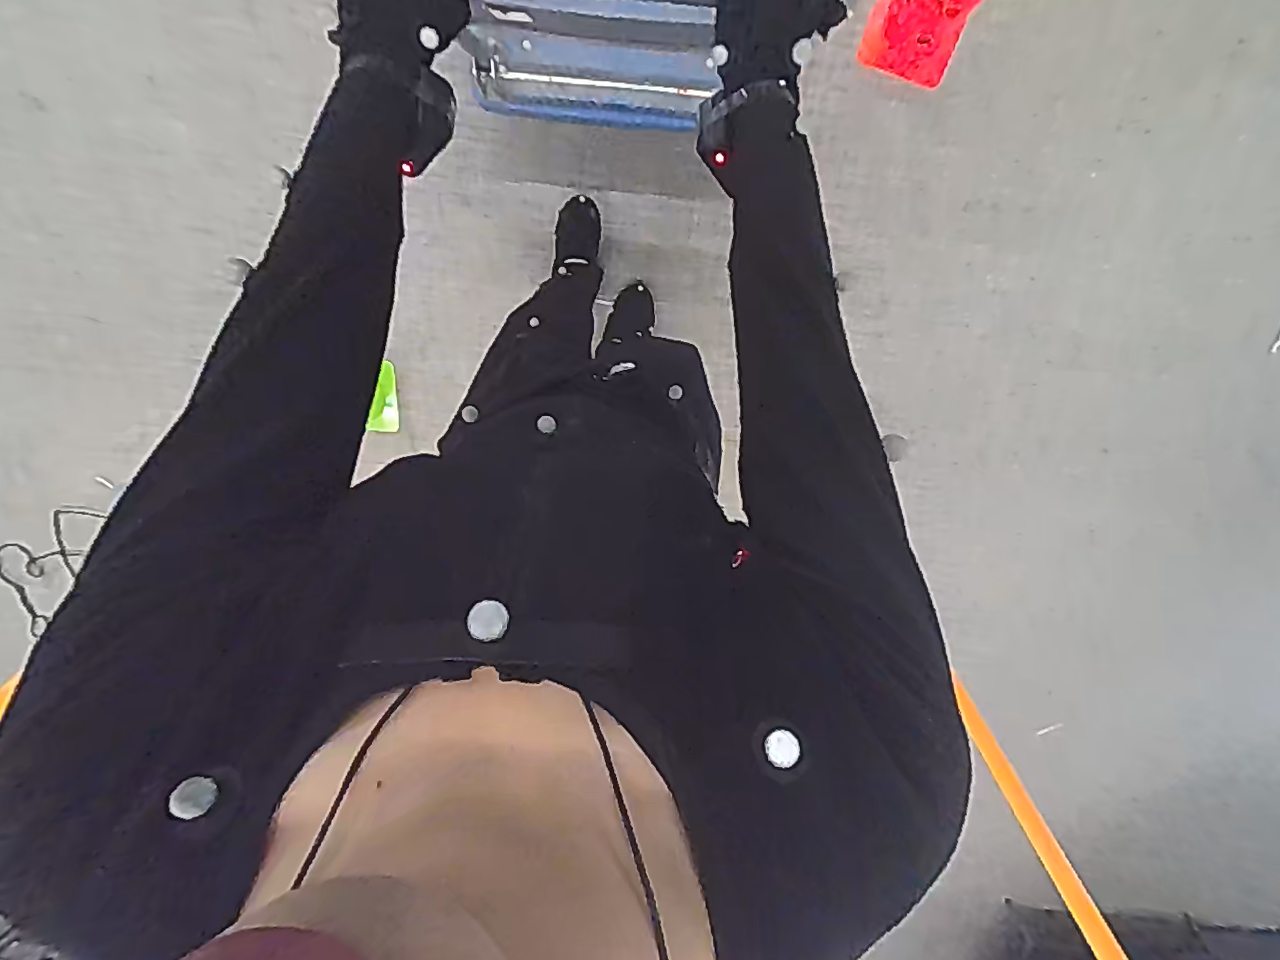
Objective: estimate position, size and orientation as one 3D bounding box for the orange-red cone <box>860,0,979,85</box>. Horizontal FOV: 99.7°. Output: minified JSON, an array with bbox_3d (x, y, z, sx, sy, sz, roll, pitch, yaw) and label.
[{"bbox_3d":[0.590,-0.910,0.989,0.198,0.360,0.199,16,113,-6],"label":"orange-red cone"}]
